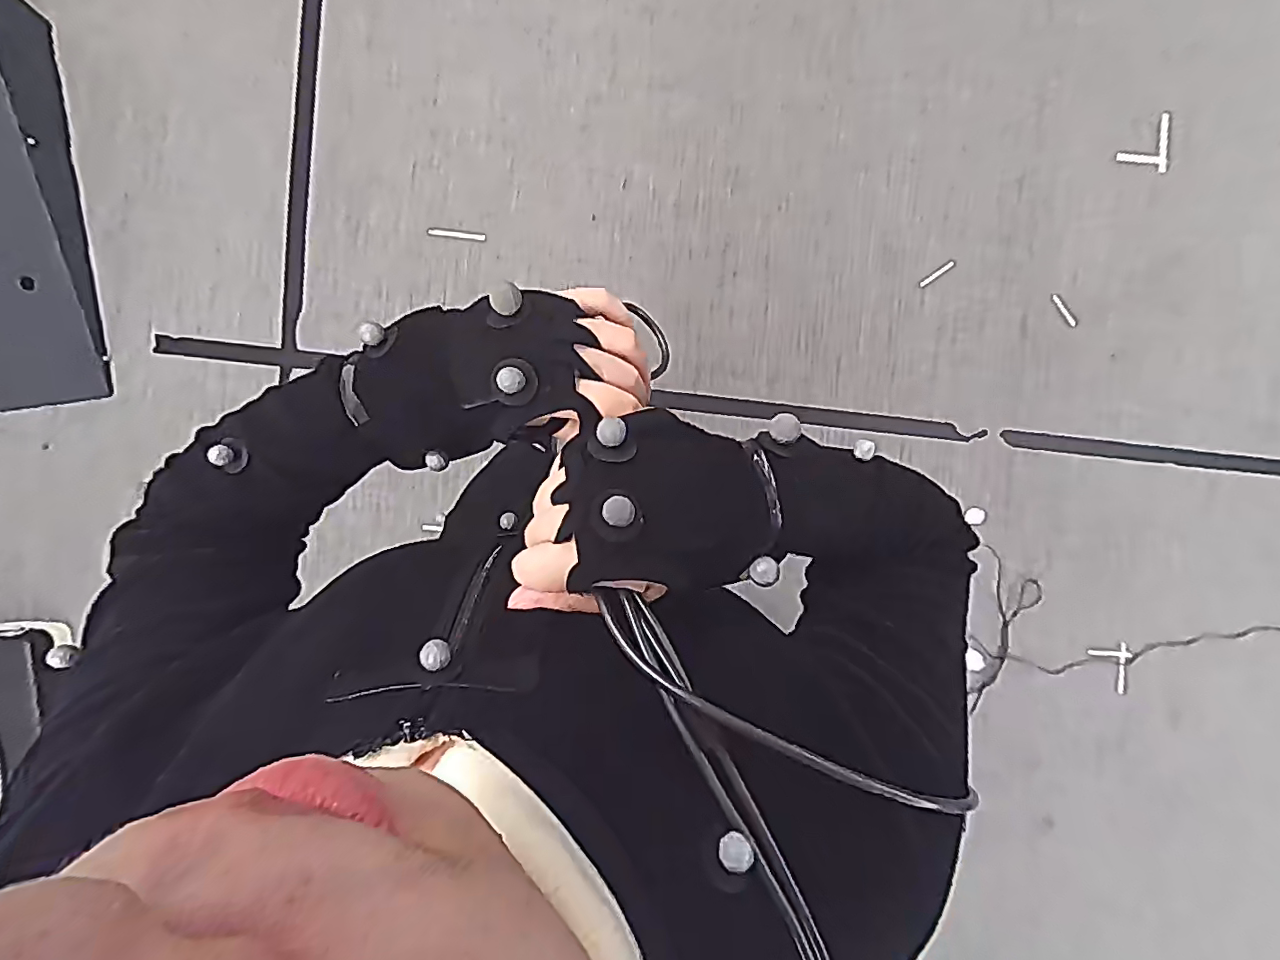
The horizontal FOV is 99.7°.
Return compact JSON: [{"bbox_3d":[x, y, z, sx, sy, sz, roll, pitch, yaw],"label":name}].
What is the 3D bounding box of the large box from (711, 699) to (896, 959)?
[{"bbox_3d":[0.345,0.757,1.211,0.320,0.320,0.408,-1,92,-3],"label":"large box"}]
